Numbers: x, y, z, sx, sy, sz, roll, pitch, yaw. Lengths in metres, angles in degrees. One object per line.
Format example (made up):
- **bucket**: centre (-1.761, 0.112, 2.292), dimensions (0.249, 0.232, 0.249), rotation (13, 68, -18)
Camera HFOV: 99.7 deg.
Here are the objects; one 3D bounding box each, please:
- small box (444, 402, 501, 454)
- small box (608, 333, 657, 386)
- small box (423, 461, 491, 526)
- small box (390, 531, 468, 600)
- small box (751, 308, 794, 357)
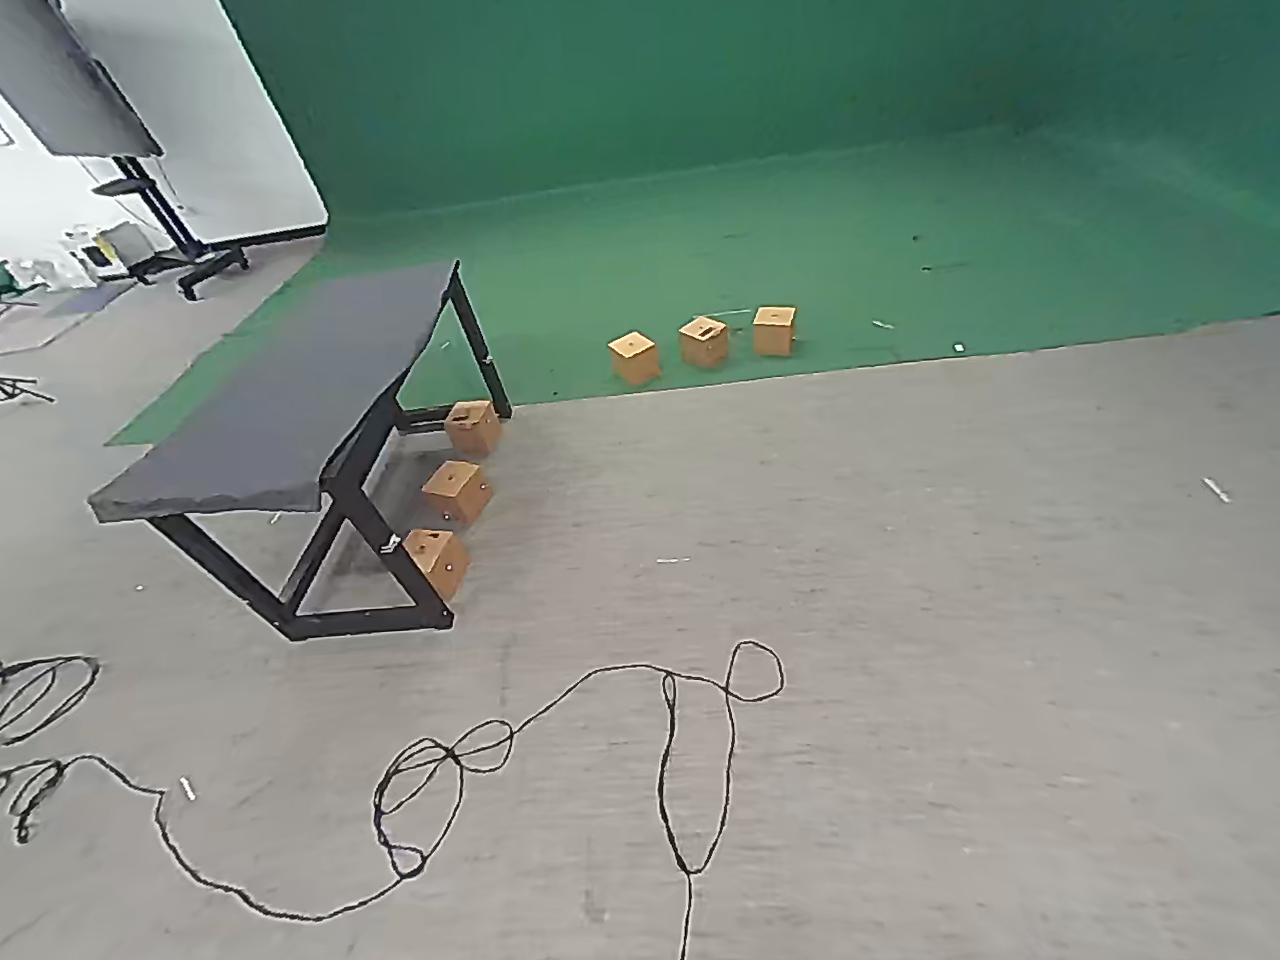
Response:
- **small box**: centre (-0.744, -0.229, 2.423), dimensions (0.168, 0.176, 0.179), rotation (-1, 44, 10)
- **small box**: centre (-0.034, -0.584, 2.637), dimensions (0.168, 0.176, 0.179), rotation (-31, 48, -19)
- **small box**: centre (-0.710, 0.054, 2.133), dimensions (0.168, 0.176, 0.179), rotation (9, 49, 21)
- **small box**: centre (-0.727, 0.301, 1.890), dimensions (0.168, 0.176, 0.179), rotation (3, 47, 14)
- **small box**: centre (0.643, -0.715, 2.625), dimensions (0.179, 0.176, 0.168), rotation (9, 48, 19)
